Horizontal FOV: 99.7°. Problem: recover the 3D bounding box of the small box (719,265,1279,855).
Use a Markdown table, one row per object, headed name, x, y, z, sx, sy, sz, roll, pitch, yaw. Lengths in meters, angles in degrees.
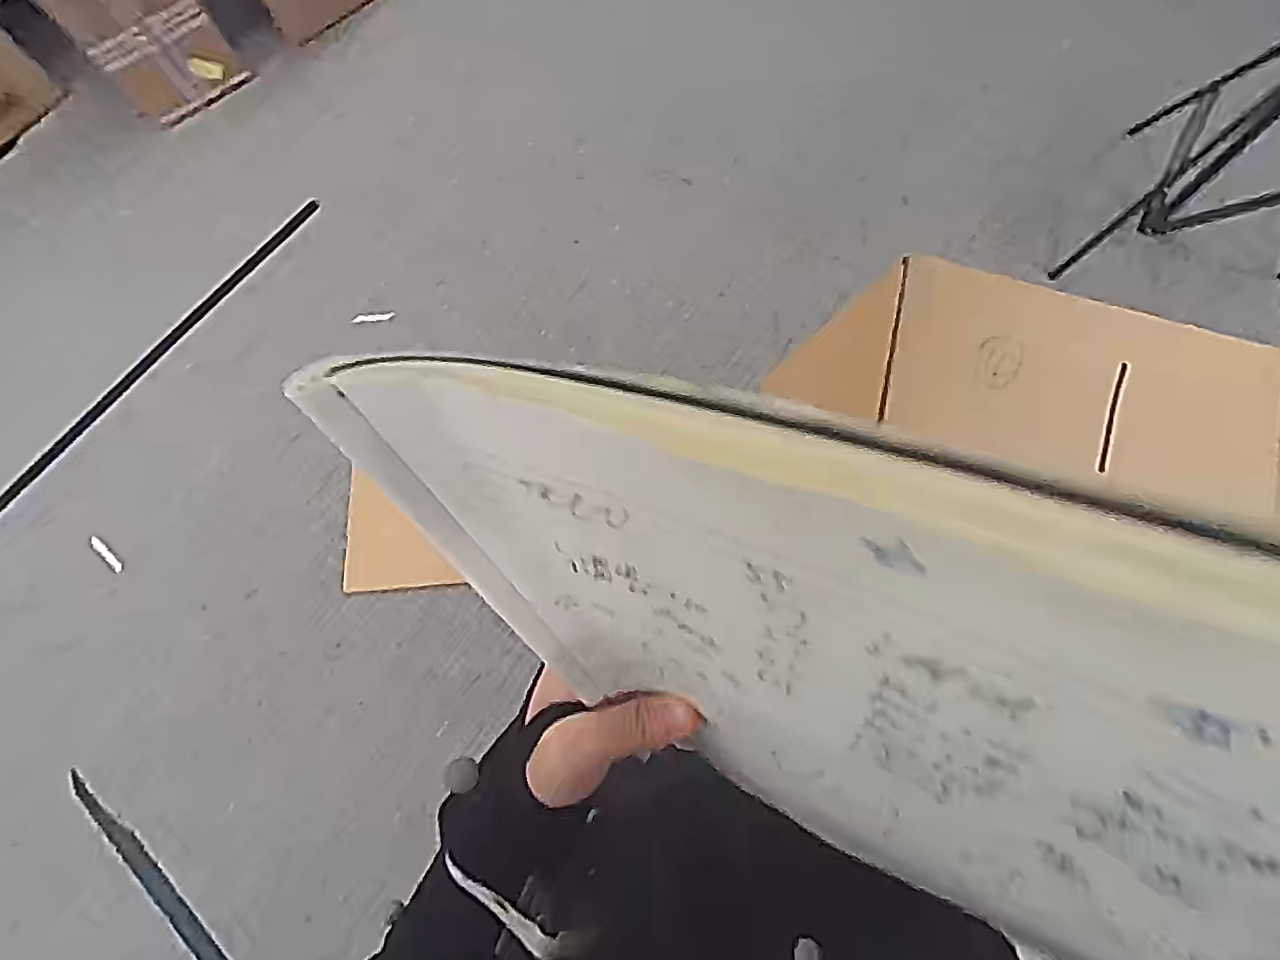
| name | x | y | z | sx | sy | sz | roll | pitch | yaw |
| --- | --- | --- | --- | --- | --- | --- | --- | --- | --- |
| small box | 0.146 | 0.033 | 0.264 | 0.168 | 0.176 | 0.179 | 12 | 83 | -5 |
